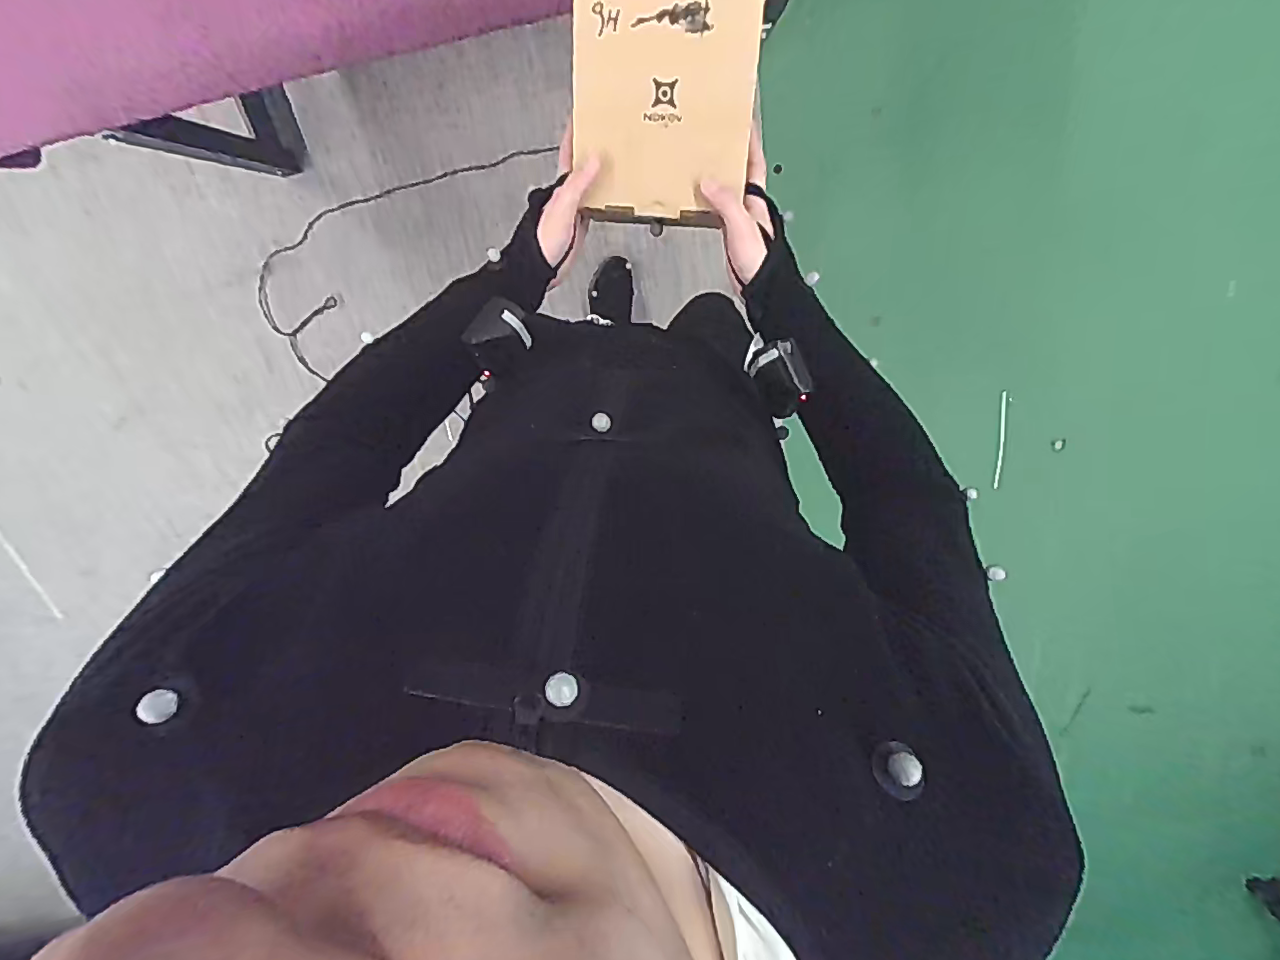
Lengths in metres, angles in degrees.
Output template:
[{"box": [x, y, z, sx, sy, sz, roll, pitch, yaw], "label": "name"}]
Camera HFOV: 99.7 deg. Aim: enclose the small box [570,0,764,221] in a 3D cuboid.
[{"box": [0.023, -0.370, 0.557, 0.168, 0.176, 0.179, 4, 113, 1], "label": "small box"}]
